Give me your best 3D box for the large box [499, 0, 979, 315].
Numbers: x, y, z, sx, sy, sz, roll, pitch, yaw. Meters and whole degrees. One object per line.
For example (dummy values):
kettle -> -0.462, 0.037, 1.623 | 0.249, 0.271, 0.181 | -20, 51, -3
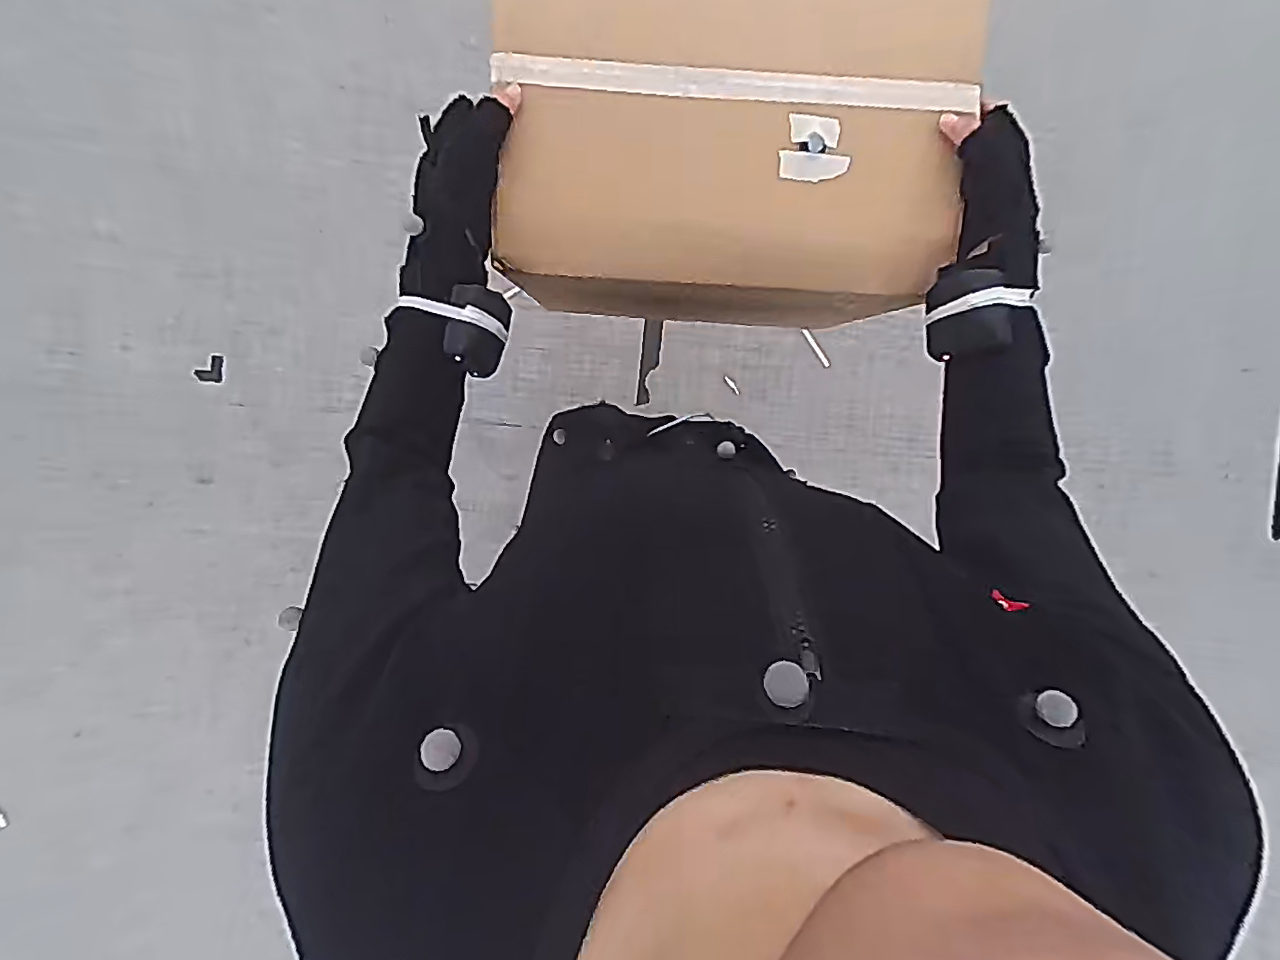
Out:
large box -> 0.074, -0.366, 0.603 | 0.408, 0.320, 0.320 | 3, 102, -3
